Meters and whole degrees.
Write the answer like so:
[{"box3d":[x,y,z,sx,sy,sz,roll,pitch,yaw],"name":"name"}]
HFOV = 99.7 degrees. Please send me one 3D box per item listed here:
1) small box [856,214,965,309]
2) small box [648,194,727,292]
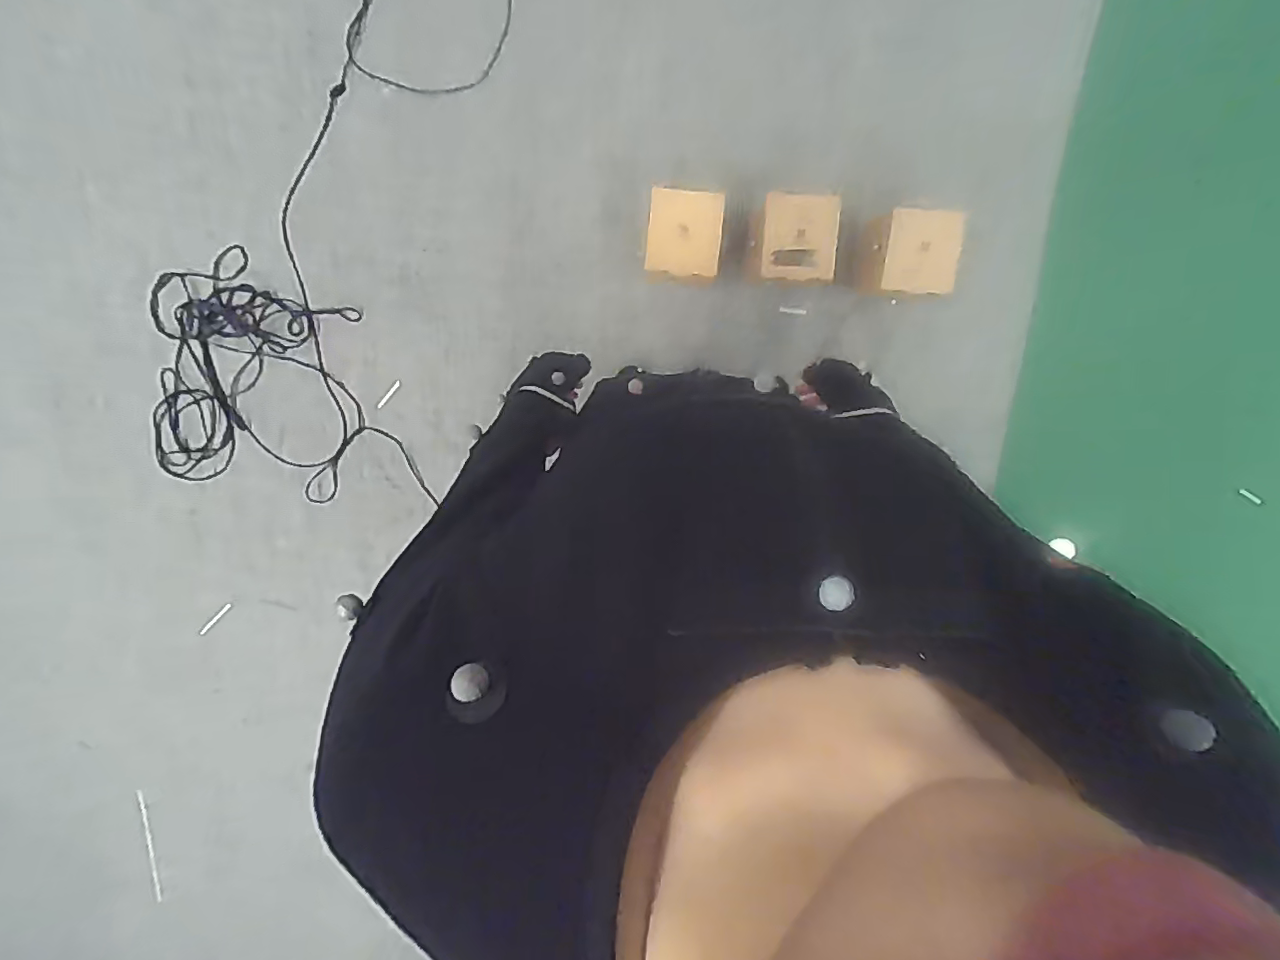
[{"box3d":[0.636,-0.515,1.295,0.168,0.176,0.179,6,102,1],"name":"small box"},{"box3d":[0.108,-0.561,1.298,0.168,0.176,0.179,6,102,1],"name":"small box"}]
